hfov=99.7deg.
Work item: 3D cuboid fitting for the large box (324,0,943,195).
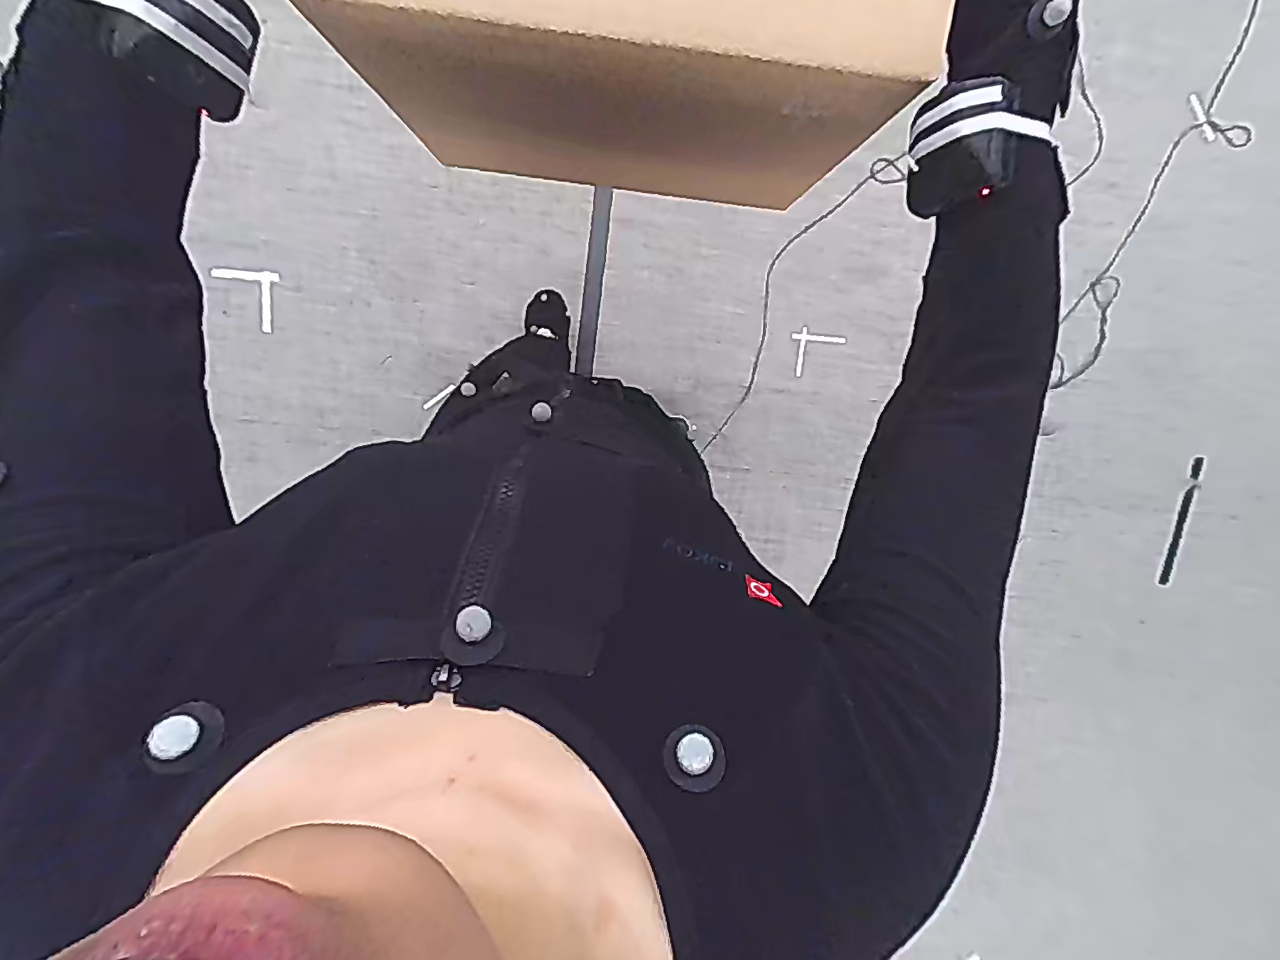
[{"bbox_3d":[-0.003,-0.463,0.451,0.408,0.320,0.320,5,103,-4],"label":"large box"}]
